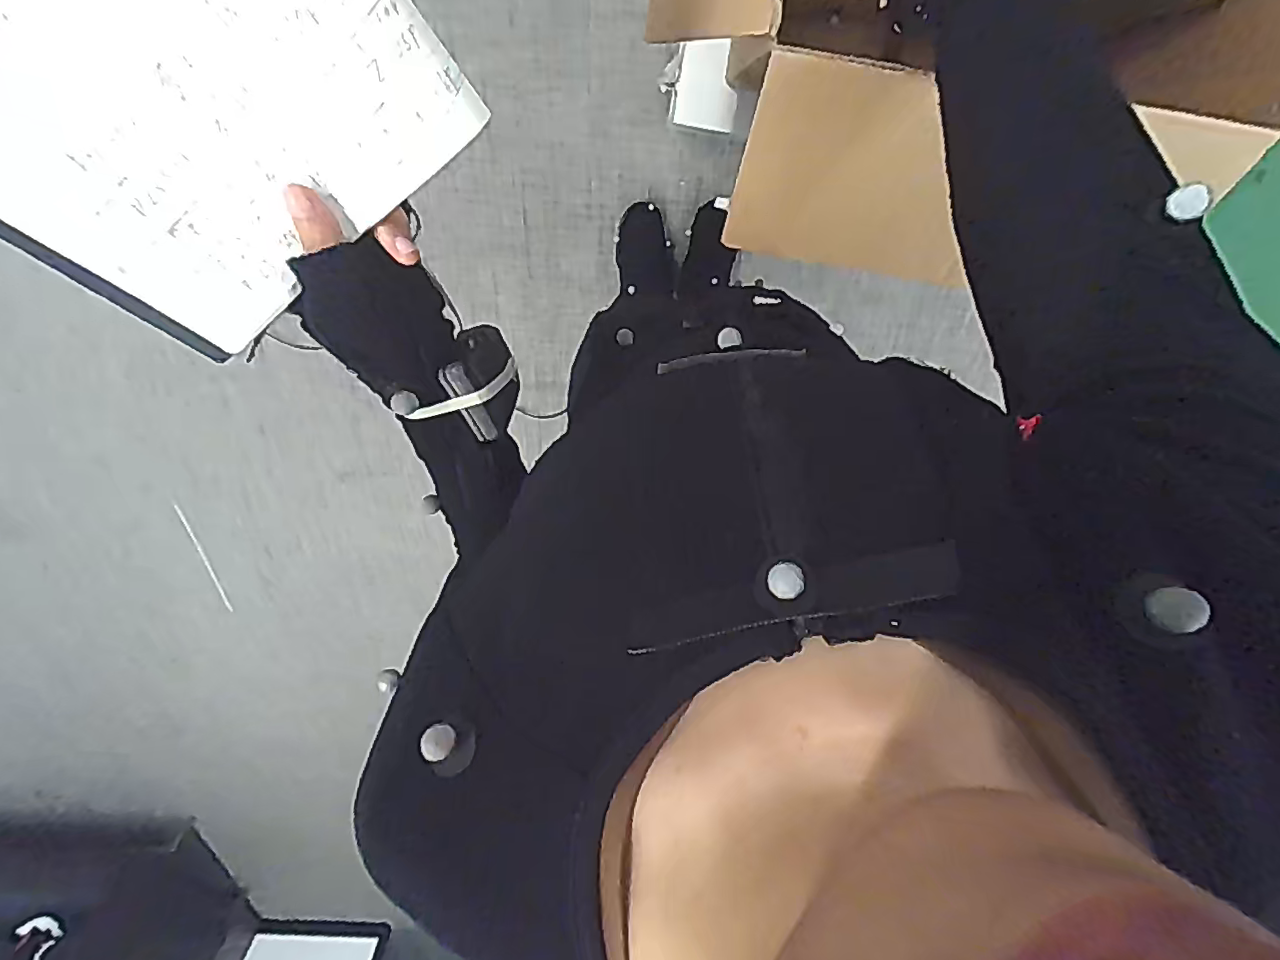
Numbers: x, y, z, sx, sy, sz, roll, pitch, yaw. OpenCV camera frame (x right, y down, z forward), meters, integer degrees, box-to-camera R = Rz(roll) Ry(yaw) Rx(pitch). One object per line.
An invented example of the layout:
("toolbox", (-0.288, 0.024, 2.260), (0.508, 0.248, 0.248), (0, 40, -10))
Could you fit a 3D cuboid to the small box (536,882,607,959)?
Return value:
("small box", (-0.175, 1.193, 1.429), (0.168, 0.176, 0.179), (1, 123, 1))
